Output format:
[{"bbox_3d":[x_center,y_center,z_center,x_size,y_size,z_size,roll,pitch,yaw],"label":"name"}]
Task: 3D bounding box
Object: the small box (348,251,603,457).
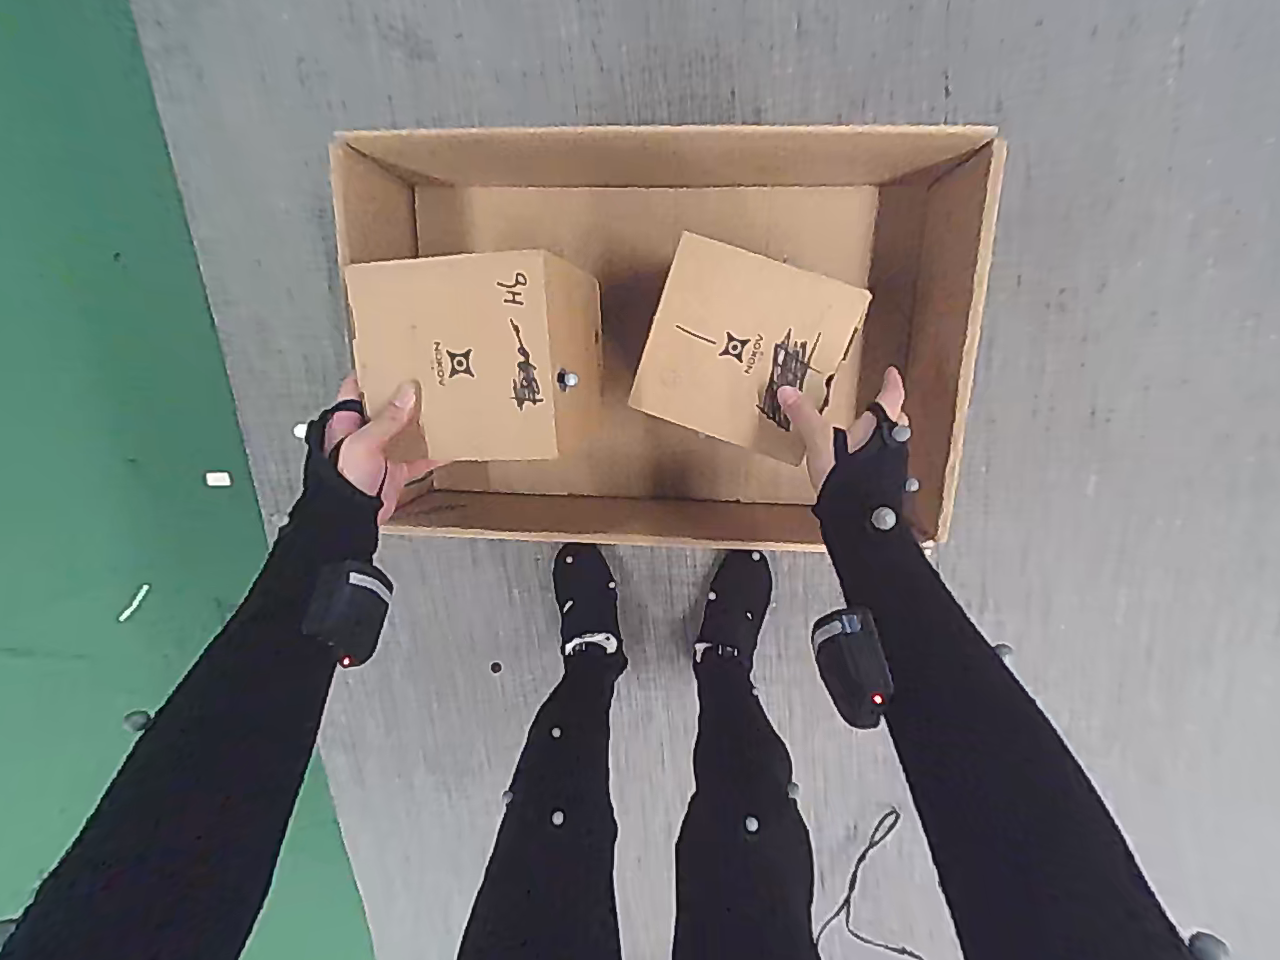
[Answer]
[{"bbox_3d":[-0.144,-0.116,0.529,0.179,0.176,0.168,0,102,11],"label":"small box"}]
